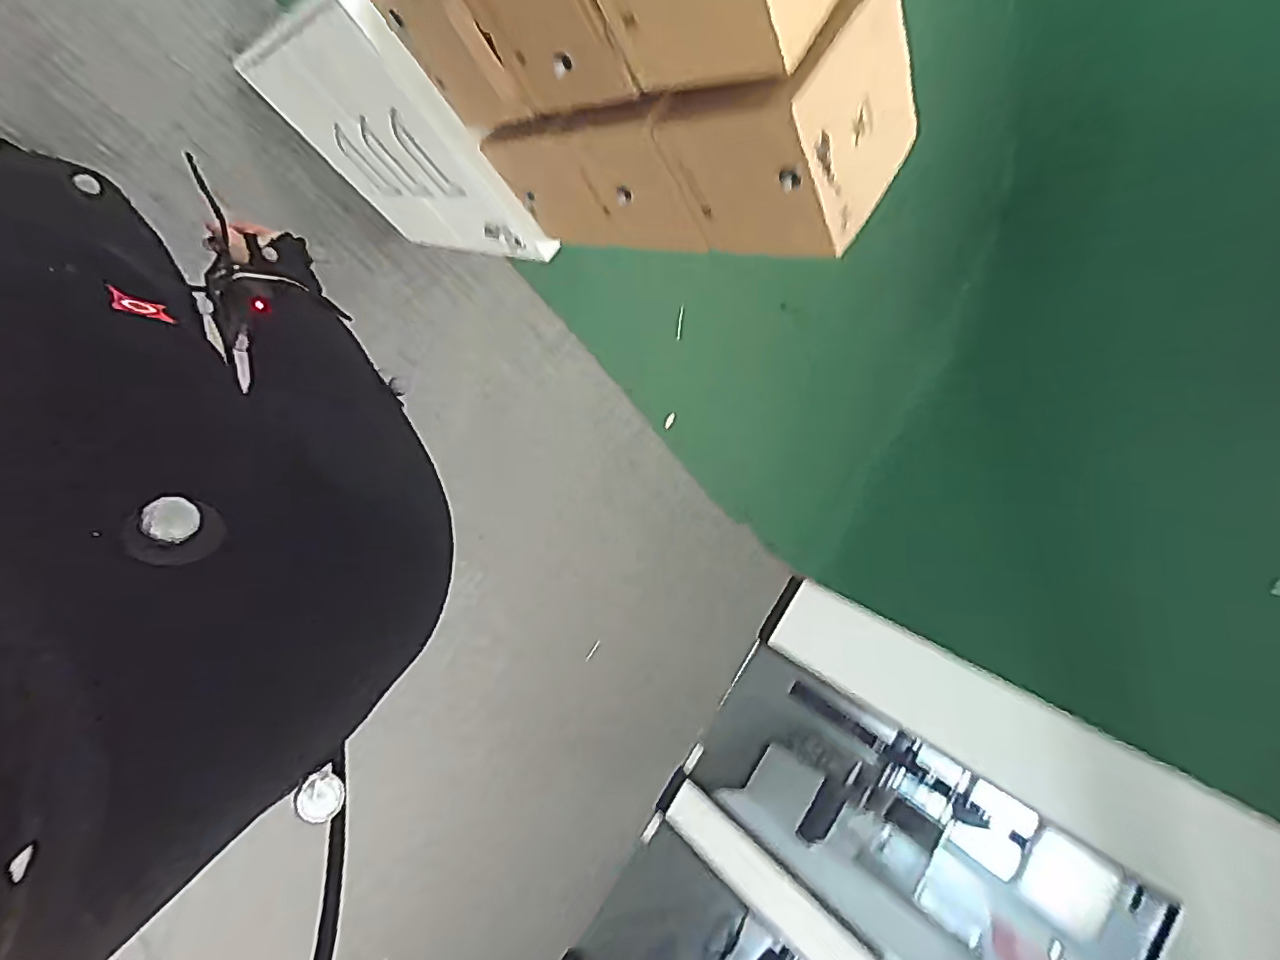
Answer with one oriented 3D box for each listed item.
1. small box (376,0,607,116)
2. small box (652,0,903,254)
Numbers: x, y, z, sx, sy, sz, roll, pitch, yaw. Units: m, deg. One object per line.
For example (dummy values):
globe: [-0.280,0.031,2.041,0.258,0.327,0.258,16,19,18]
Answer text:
small box: [-0.178,-0.558,0.624,0.179,0.176,0.168,-57,141,-9]
small box: [0.143,-0.365,0.558,0.179,0.176,0.168,-58,139,-8]
